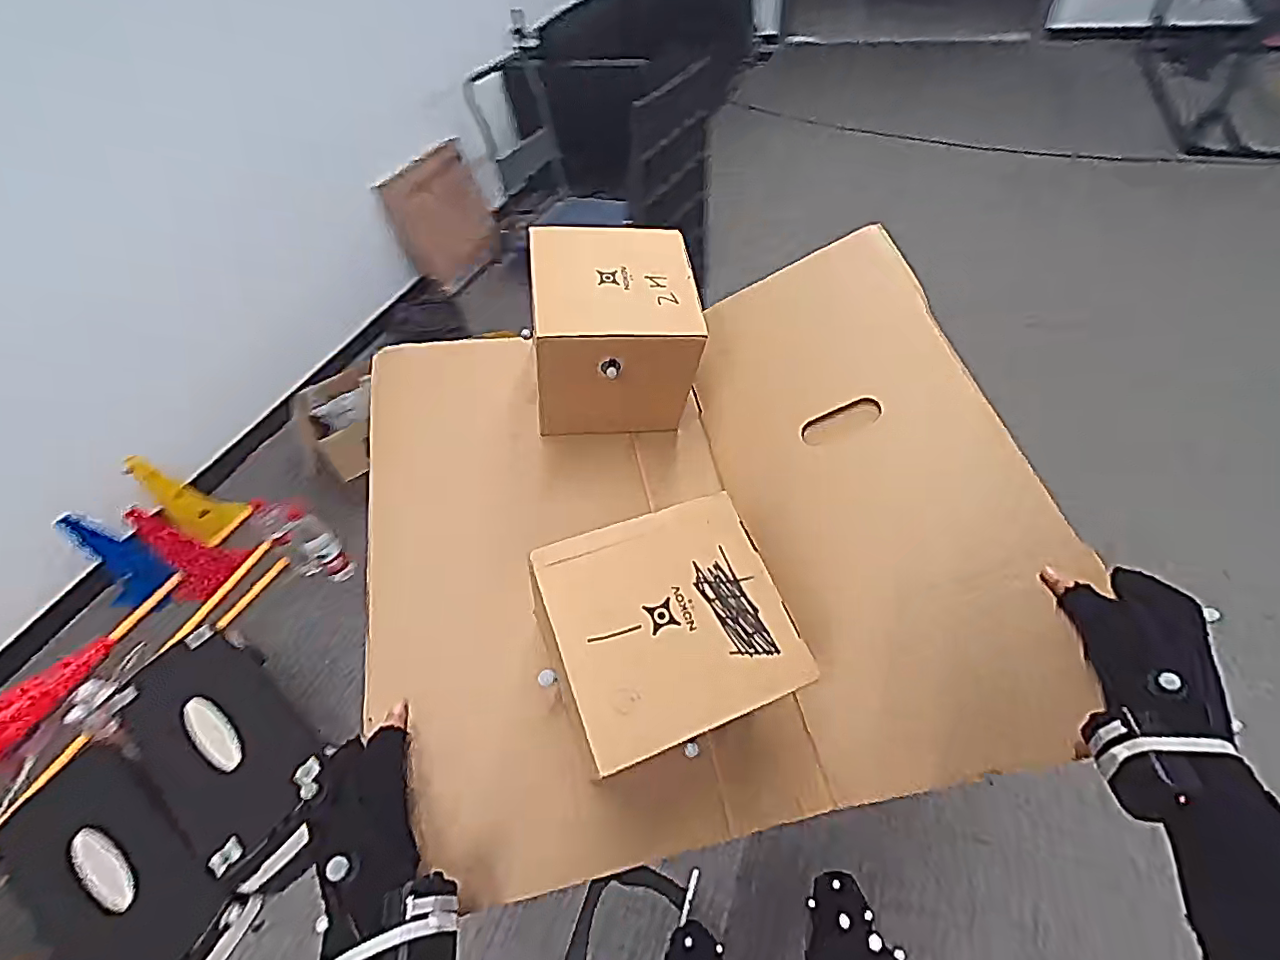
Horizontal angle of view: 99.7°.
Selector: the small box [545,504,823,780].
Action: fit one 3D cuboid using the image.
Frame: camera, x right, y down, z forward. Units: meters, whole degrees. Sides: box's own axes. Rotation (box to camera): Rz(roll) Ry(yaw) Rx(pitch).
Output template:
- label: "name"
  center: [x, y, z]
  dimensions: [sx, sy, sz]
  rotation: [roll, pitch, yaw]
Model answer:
- label: "small box"
  center: [0.021, 0.146, 0.481]
  dimensions: [0.179, 0.176, 0.168]
  rotation: [-15, 64, -15]
